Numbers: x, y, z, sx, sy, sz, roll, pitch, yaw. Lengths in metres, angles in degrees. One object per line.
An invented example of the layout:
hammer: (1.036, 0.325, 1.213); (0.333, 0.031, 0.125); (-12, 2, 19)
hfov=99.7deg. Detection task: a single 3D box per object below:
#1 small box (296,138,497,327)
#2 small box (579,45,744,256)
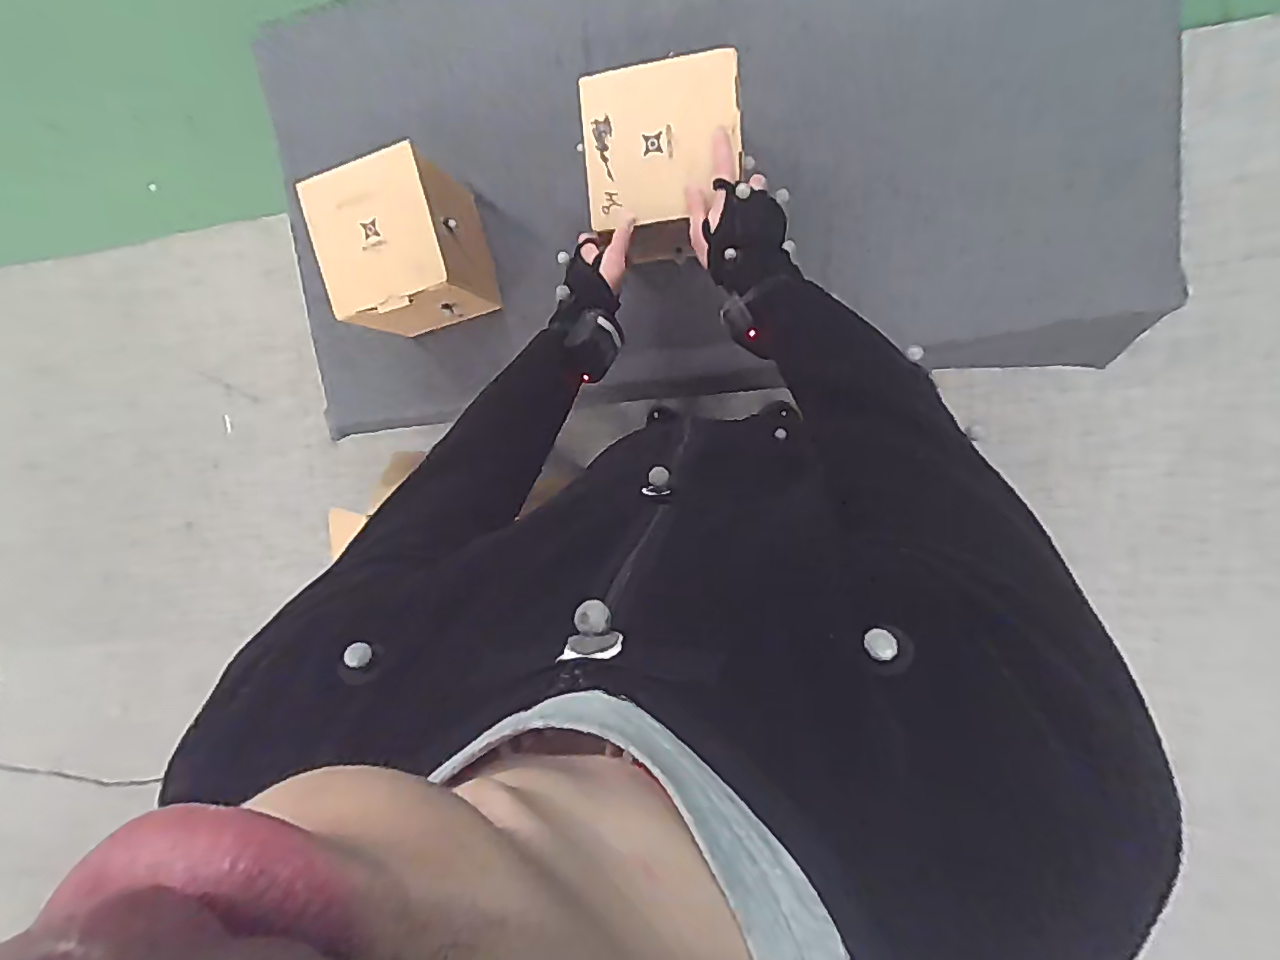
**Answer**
small box: (-0.321, -0.322, 0.749); (0.168, 0.176, 0.179); (-14, 94, 11)
small box: (0.035, -0.389, 0.673); (0.179, 0.176, 0.168); (-3, 99, 10)
